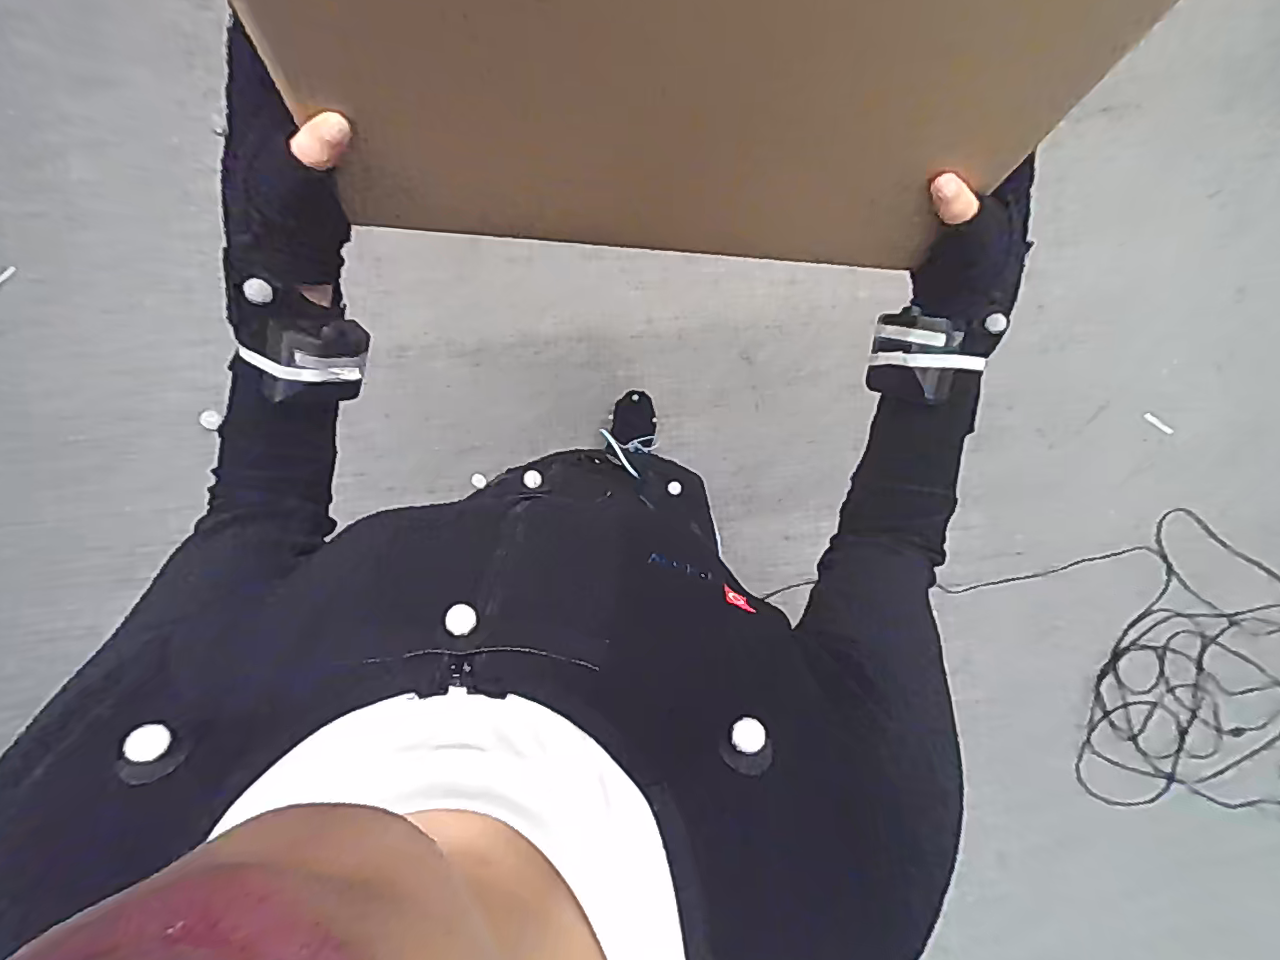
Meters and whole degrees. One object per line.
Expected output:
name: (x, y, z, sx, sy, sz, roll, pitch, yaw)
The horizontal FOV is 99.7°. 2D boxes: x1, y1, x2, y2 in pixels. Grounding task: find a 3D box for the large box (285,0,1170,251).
large box: (0.038, -0.354, 0.276, 0.408, 0.320, 0.320, 1, 76, -10)
